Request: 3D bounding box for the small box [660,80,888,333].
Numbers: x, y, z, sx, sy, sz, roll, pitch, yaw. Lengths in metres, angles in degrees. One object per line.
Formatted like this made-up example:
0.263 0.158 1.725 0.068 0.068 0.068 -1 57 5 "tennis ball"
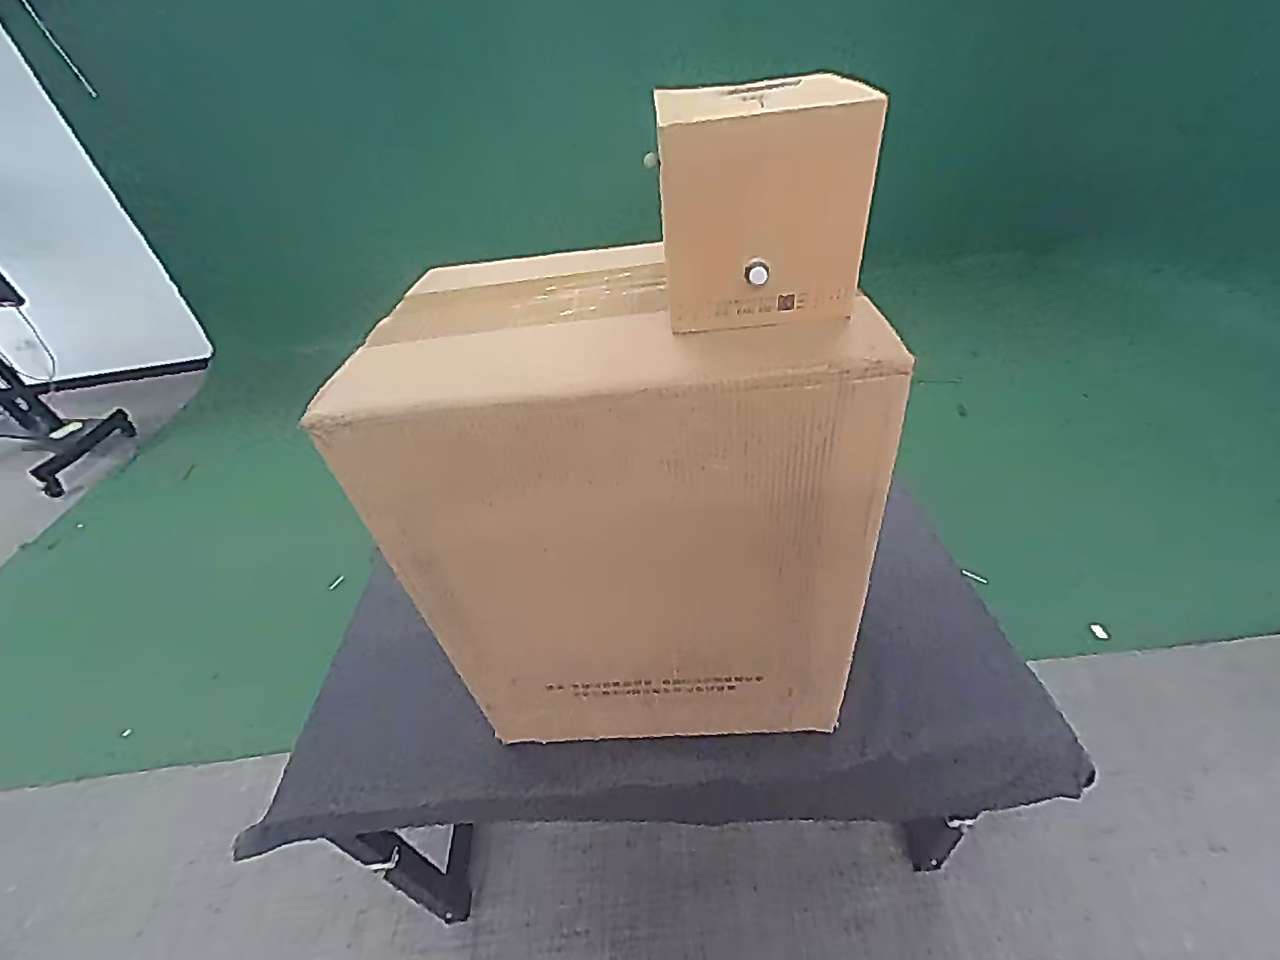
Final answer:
0.104 -0.255 0.506 0.168 0.176 0.179 -4 42 4 "small box"
